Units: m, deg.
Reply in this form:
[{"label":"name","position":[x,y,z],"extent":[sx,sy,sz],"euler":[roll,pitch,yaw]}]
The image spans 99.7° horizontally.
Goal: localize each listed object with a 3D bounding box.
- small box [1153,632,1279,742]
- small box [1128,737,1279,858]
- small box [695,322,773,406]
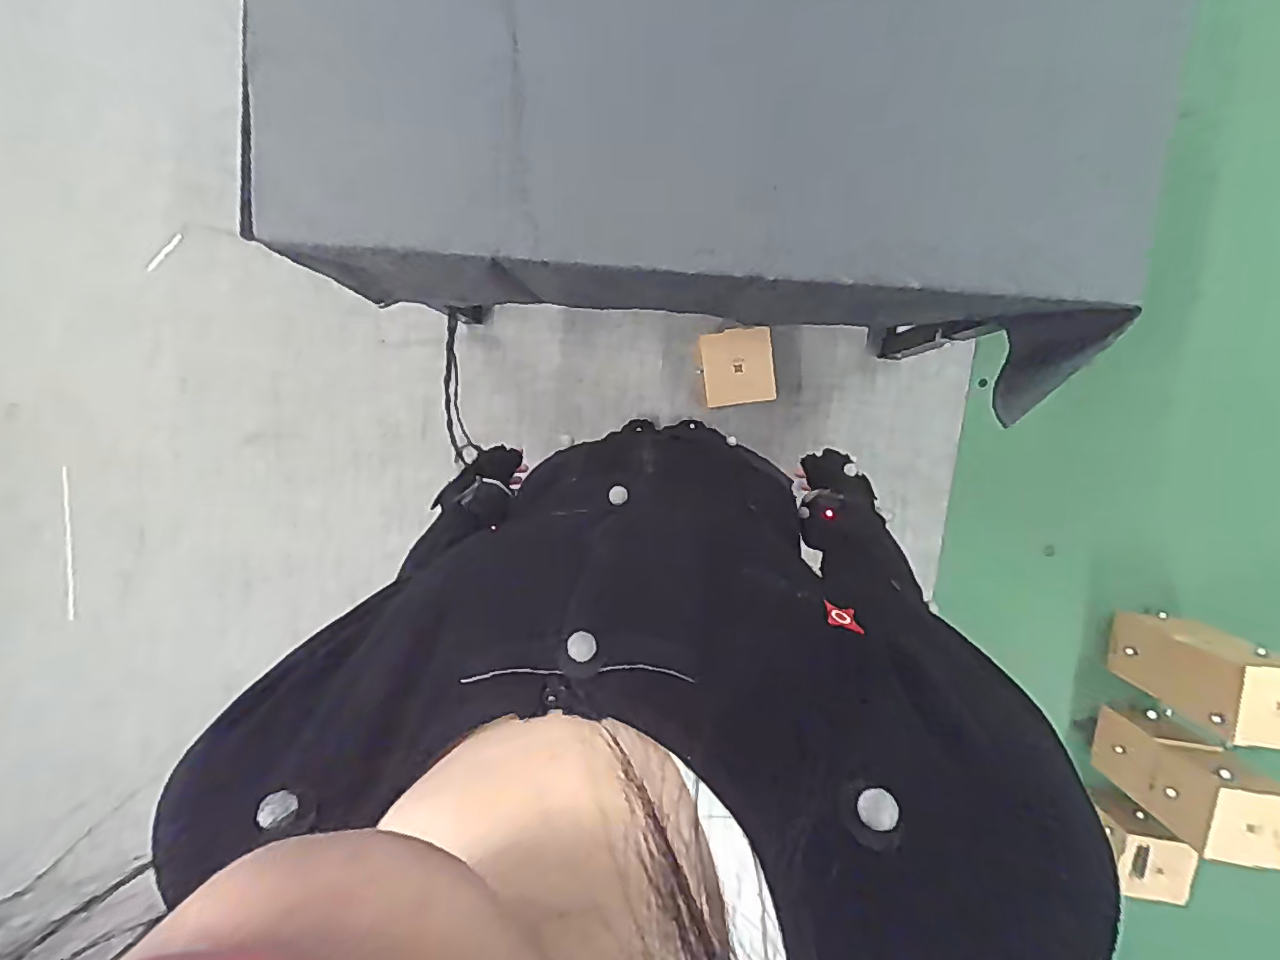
[{"label":"small box","position":[1.317,0.457,1.216],"extent":[0.168,0.176,0.179],"euler":[3,97,3]},{"label":"small box","position":[1.293,0.722,1.247],"extent":[0.179,0.176,0.168],"euler":[7,98,2]},{"label":"small box","position":[0.229,-0.285,1.356],"extent":[0.168,0.176,0.179],"euler":[-7,96,4]}]
